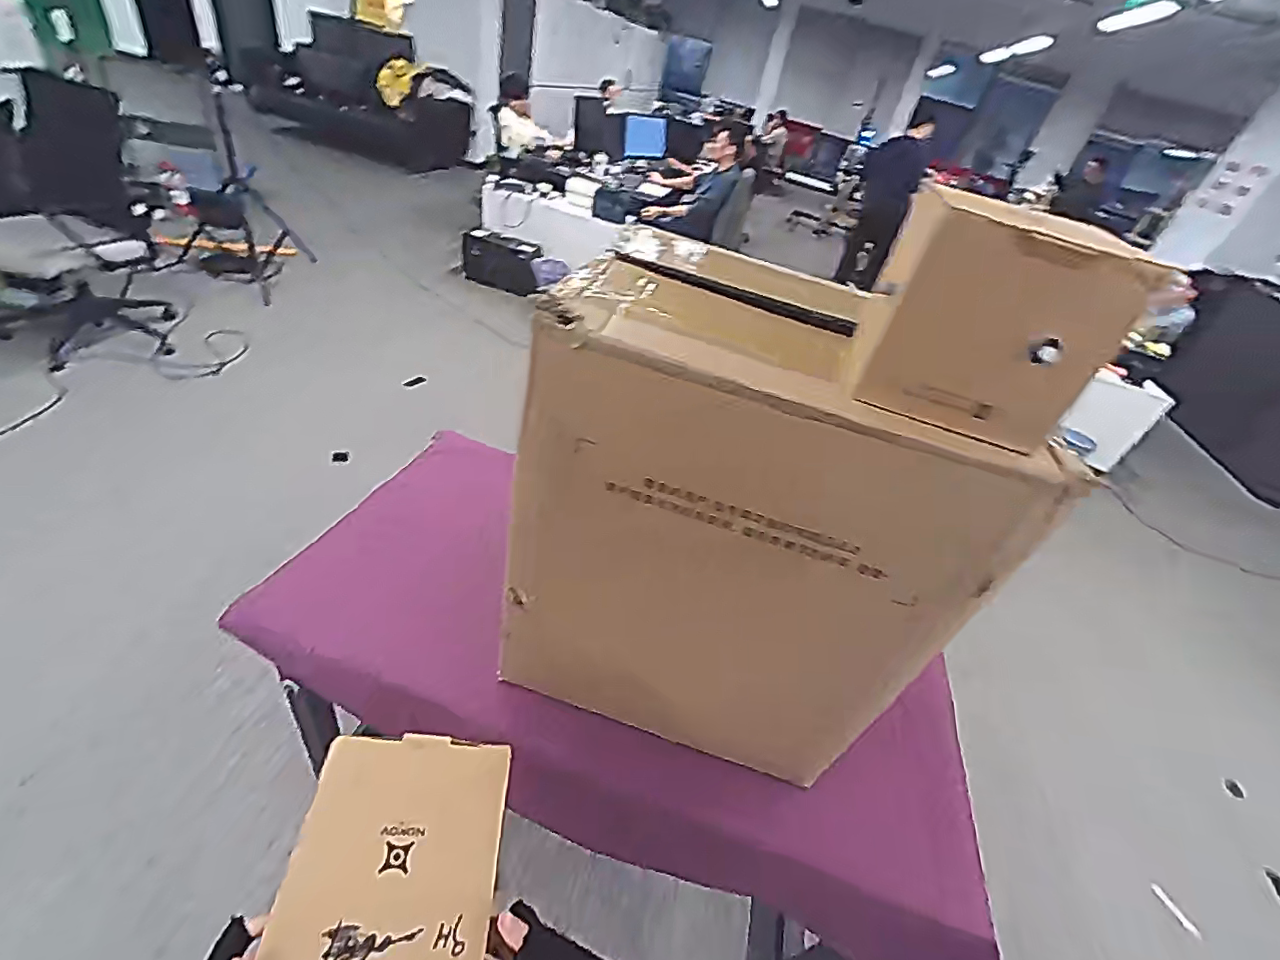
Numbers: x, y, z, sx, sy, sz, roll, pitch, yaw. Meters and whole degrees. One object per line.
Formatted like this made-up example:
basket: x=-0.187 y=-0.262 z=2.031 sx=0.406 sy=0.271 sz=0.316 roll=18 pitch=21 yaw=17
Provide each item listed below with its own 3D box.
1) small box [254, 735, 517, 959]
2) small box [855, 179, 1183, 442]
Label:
small box: x=-0.220 y=0.370 z=0.504 sx=0.168 sy=0.176 sz=0.179 roll=10 pitch=38 yaw=-11
small box: x=0.314 y=-0.160 z=0.501 sx=0.168 sy=0.176 sz=0.179 roll=21 pitch=36 yaw=7
